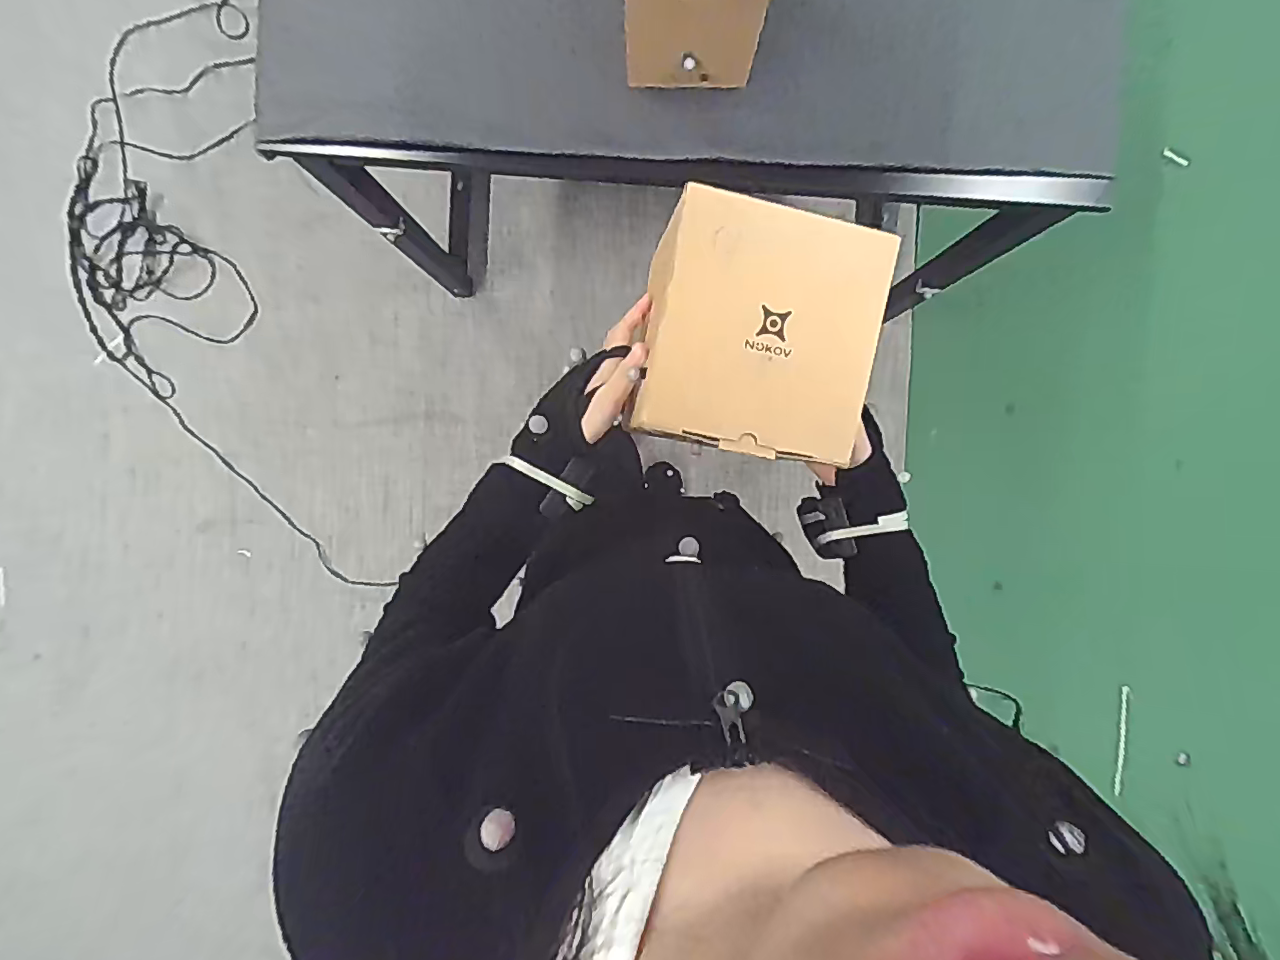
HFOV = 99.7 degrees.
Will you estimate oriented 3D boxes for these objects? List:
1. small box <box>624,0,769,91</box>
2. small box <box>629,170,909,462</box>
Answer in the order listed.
[{"bbox_3d":[0.064,-0.624,0.662,0.168,0.176,0.179,0,90,1],"label":"small box"},{"bbox_3d":[0.089,-0.118,0.460,0.168,0.176,0.179,10,94,-8],"label":"small box"}]
